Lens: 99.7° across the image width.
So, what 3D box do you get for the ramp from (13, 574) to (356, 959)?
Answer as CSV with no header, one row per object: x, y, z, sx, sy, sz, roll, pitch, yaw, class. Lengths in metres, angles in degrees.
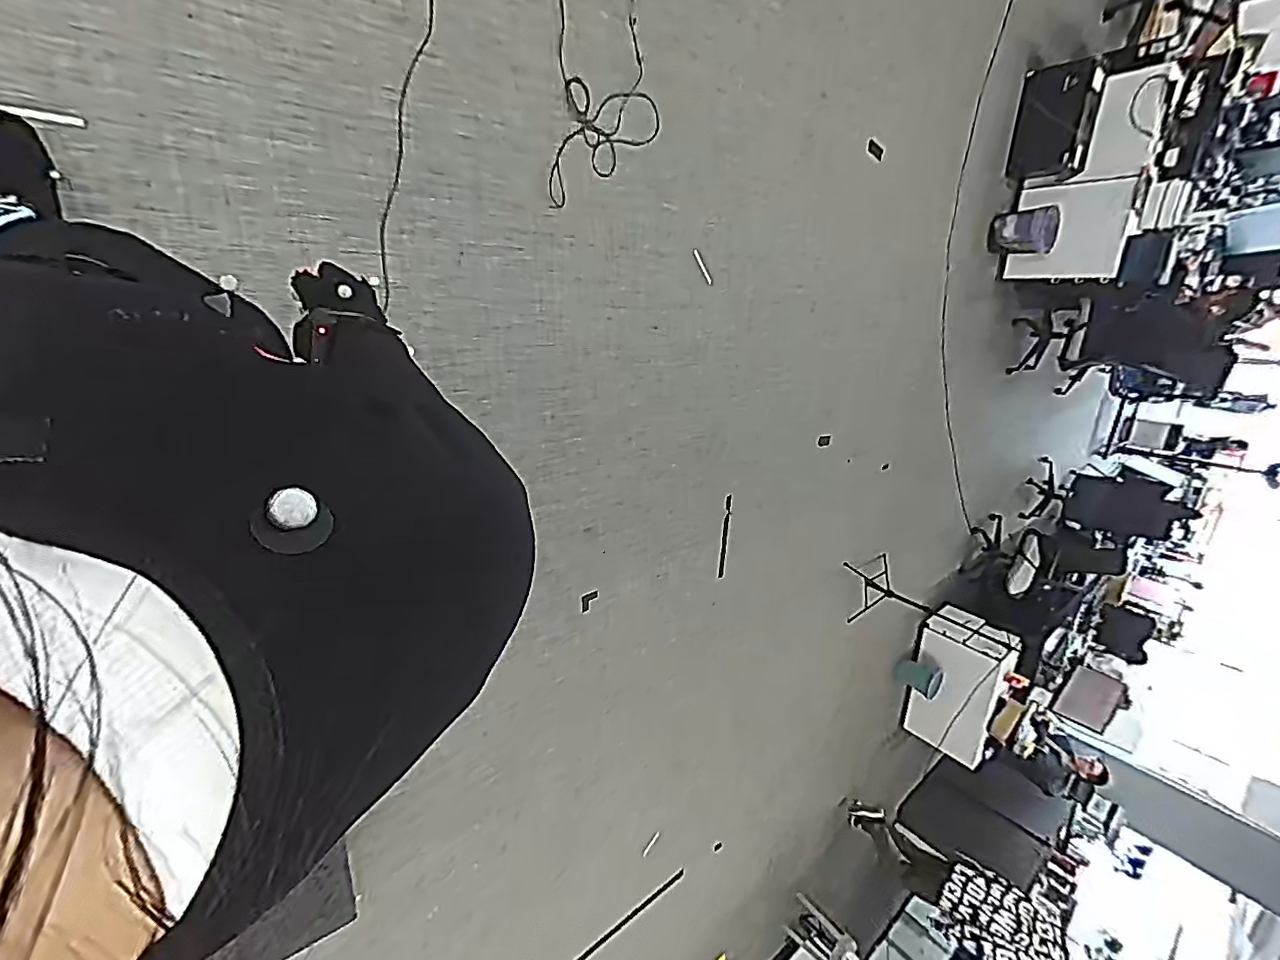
-1.015,0.756,1.283,0.509,0.206,0.991,-12,113,-37,ramp
